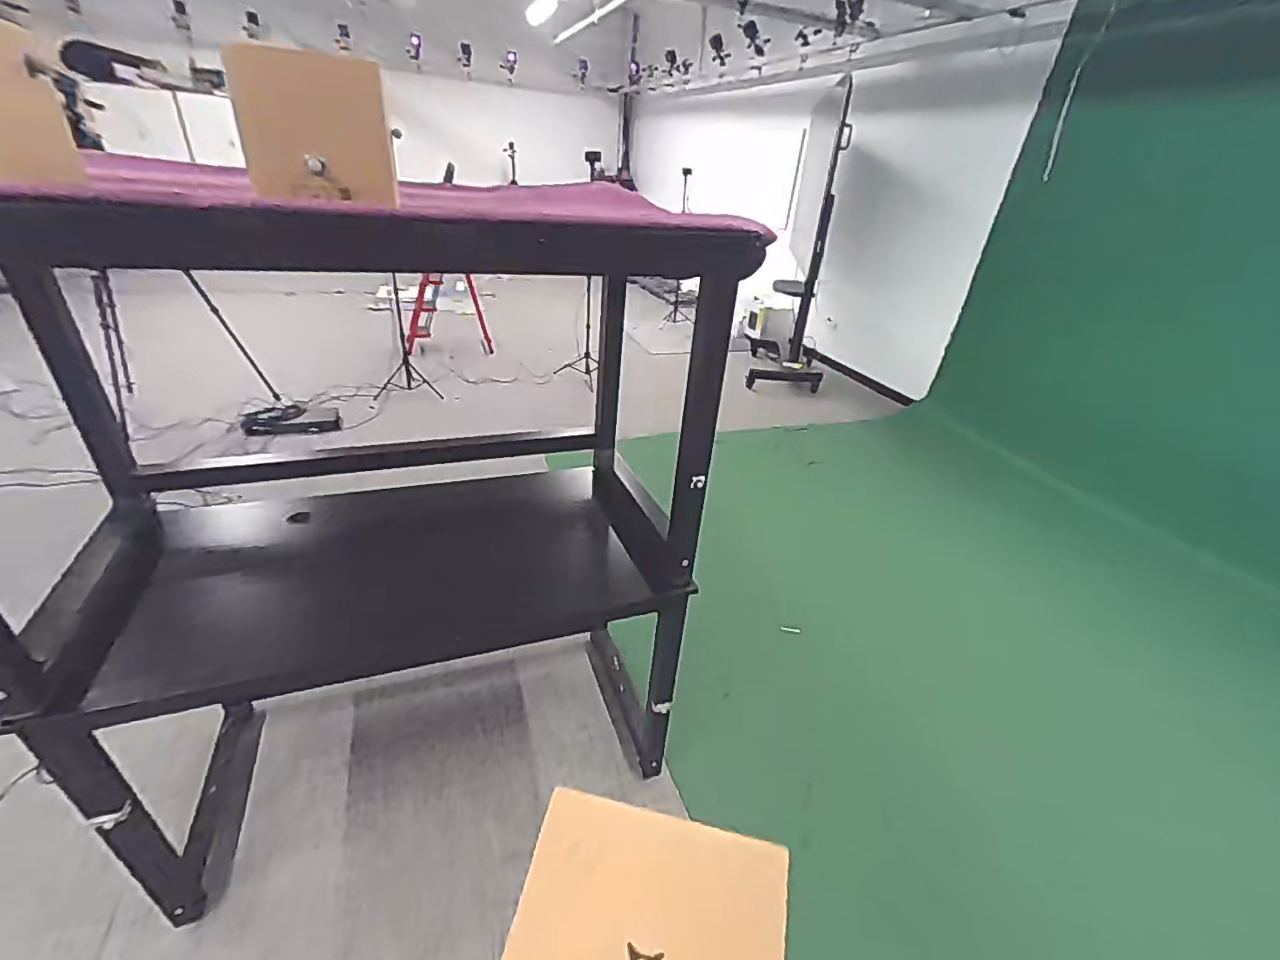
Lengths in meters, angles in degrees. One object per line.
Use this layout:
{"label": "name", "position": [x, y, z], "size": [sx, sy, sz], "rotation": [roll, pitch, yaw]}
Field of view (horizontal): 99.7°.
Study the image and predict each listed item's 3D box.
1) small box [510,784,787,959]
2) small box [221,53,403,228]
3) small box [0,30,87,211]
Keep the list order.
{"label": "small box", "position": [0.000, 0.350, 0.383], "size": [0.168, 0.176, 0.179], "rotation": [10, 48, 8]}
{"label": "small box", "position": [-0.419, -0.446, 0.726], "size": [0.168, 0.176, 0.179], "rotation": [-7, 34, -19]}
{"label": "small box", "position": [-0.762, -0.396, 0.585], "size": [0.168, 0.176, 0.179], "rotation": [-7, 31, -20]}
